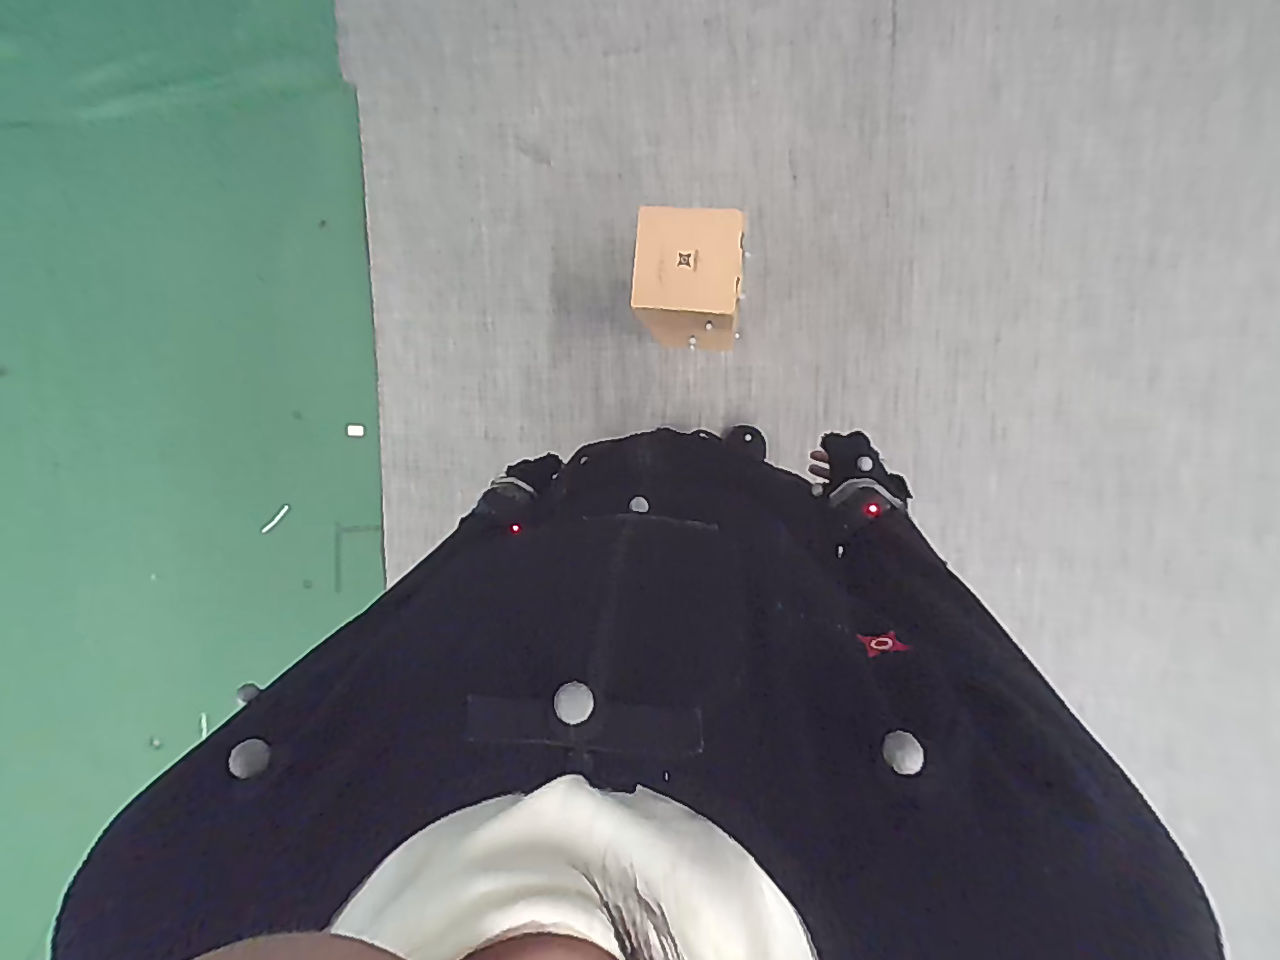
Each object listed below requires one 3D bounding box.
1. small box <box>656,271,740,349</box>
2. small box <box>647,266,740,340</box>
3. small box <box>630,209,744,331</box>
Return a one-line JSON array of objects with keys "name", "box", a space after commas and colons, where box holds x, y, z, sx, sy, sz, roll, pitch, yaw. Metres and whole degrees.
[{"name": "small box", "box": [0.140, -0.407, 1.286, 0.179, 0.176, 0.168, 6, 97, 9]}, {"name": "small box", "box": [0.115, -0.388, 1.129, 0.179, 0.176, 0.168, 4, 98, 9]}, {"name": "small box", "box": [0.088, -0.367, 0.967, 0.179, 0.176, 0.168, 6, 96, 9]}]
